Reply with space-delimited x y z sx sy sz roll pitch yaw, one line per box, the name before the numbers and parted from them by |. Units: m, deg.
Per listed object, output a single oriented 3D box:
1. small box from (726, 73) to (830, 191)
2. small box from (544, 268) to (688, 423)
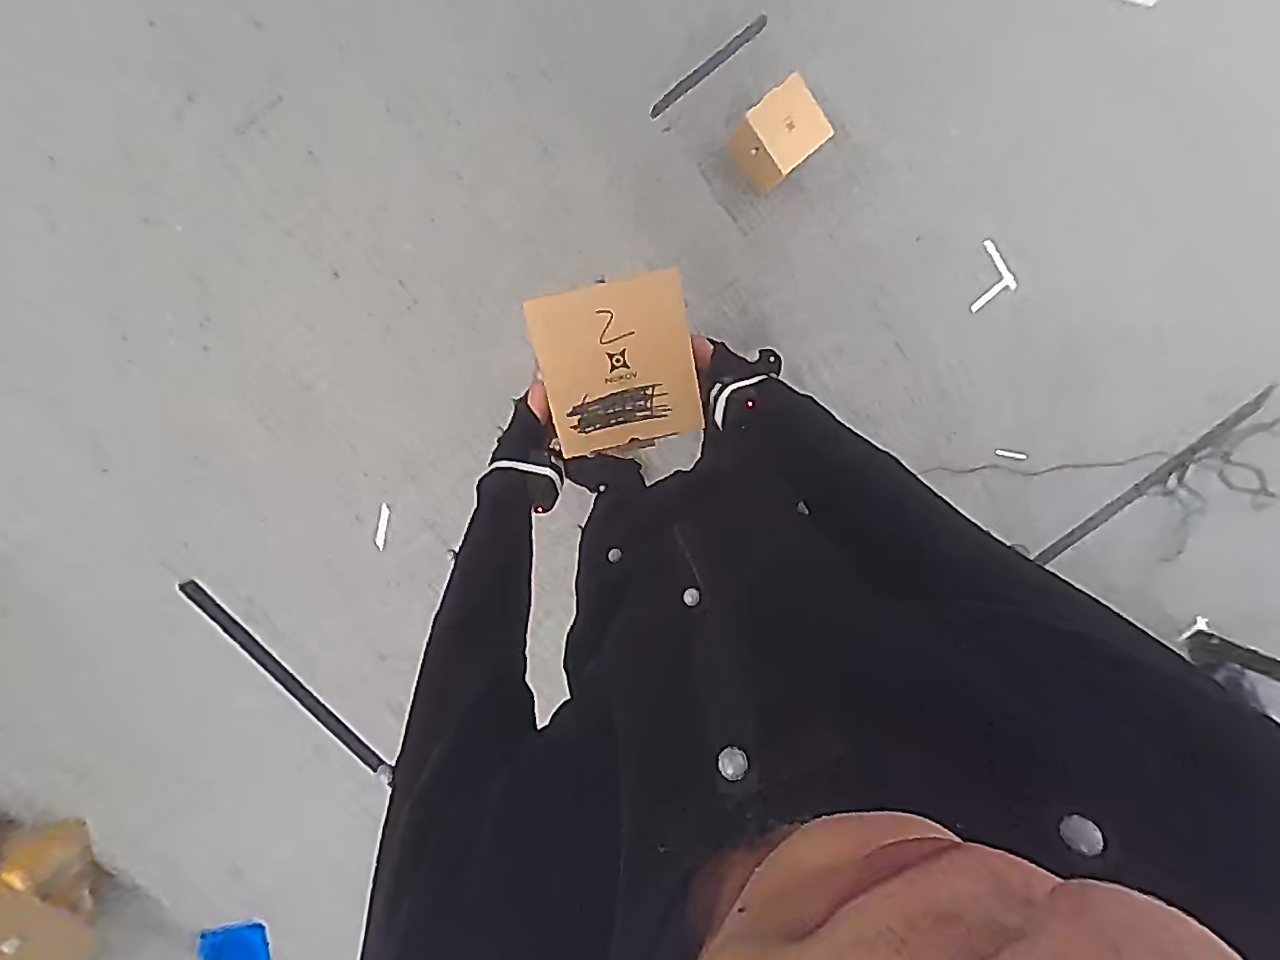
small box | 0.352 -0.889 1.409 0.168 0.176 0.179 -40 101 2
small box | -0.038 -0.203 0.806 0.168 0.176 0.179 -15 110 0
